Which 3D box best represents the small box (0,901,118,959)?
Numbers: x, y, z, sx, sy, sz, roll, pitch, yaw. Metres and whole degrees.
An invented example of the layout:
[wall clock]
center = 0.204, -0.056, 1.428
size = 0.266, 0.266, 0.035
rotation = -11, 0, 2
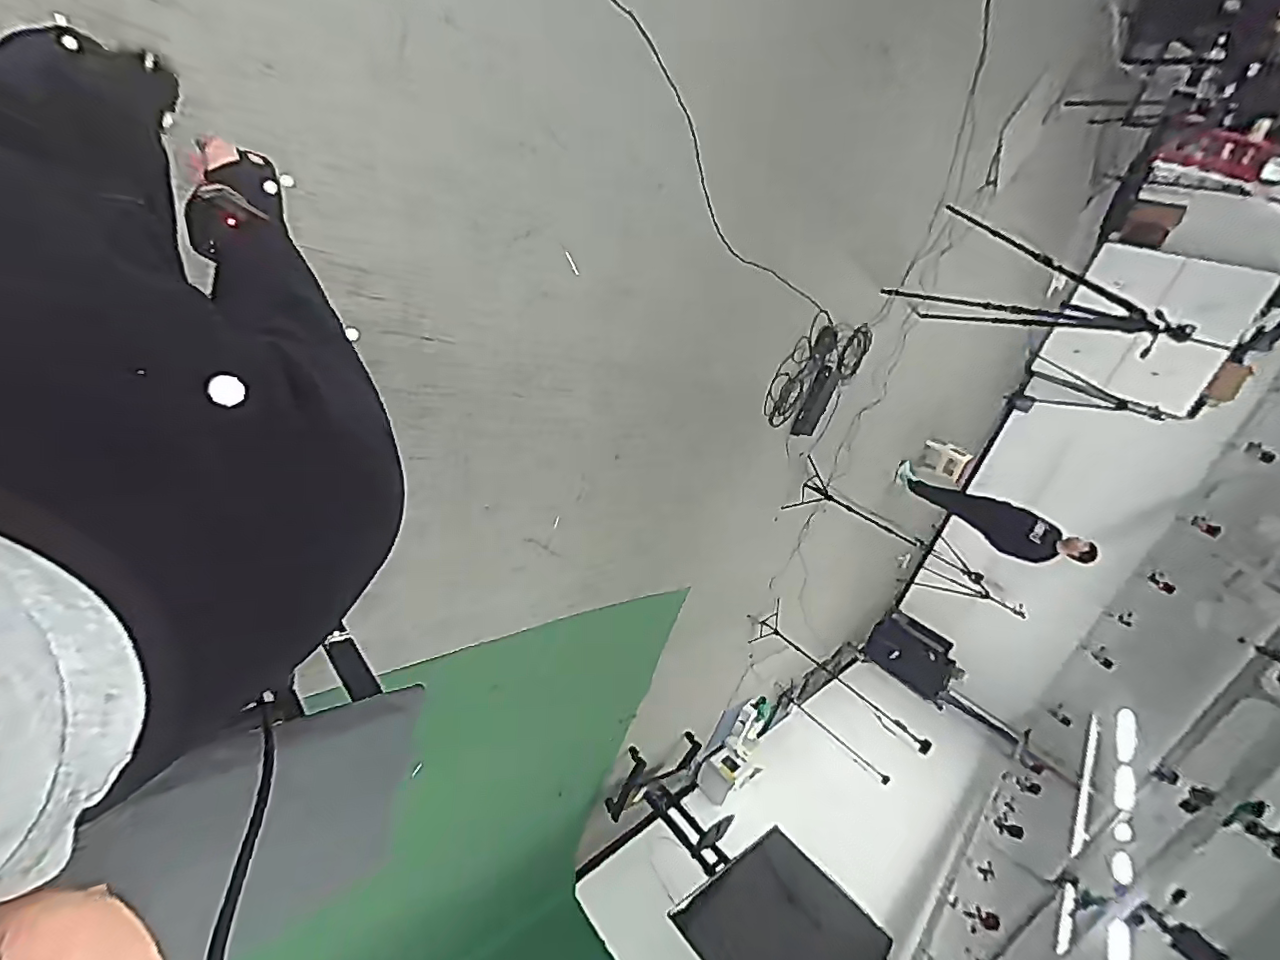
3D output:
[small box]
center = -0.926, 0.812, 0.839
size = 0.168, 0.176, 0.179
rotation = -6, 122, -46
